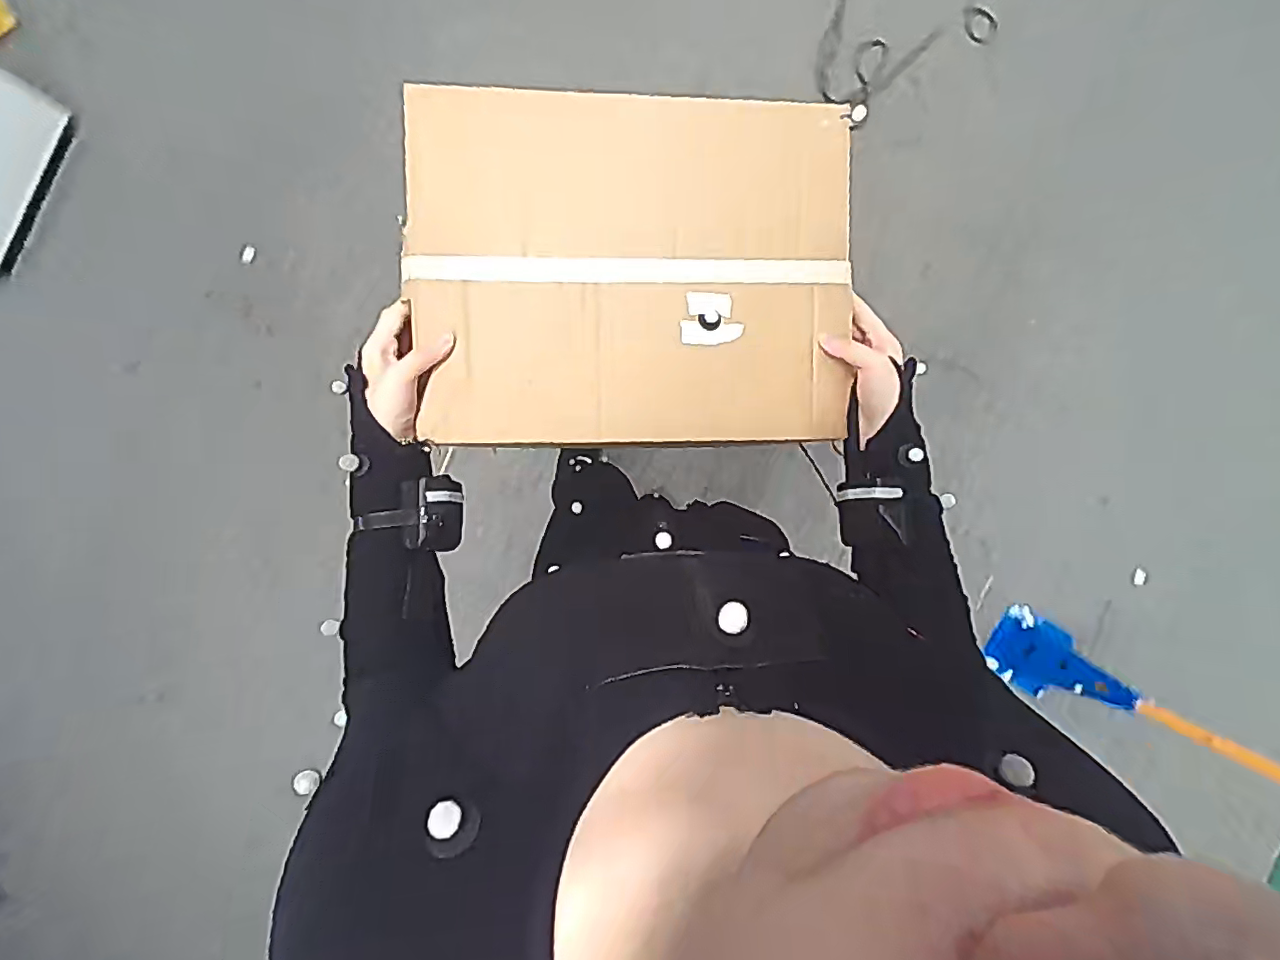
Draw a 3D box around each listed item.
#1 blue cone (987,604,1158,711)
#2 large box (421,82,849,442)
[{"bbox_3d":[1.055,0.454,1.307,0.192,0.380,0.193,31,92,1],"label":"blue cone"},{"bbox_3d":[-0.014,-0.208,0.651,0.408,0.320,0.320,0,93,-6],"label":"large box"}]
